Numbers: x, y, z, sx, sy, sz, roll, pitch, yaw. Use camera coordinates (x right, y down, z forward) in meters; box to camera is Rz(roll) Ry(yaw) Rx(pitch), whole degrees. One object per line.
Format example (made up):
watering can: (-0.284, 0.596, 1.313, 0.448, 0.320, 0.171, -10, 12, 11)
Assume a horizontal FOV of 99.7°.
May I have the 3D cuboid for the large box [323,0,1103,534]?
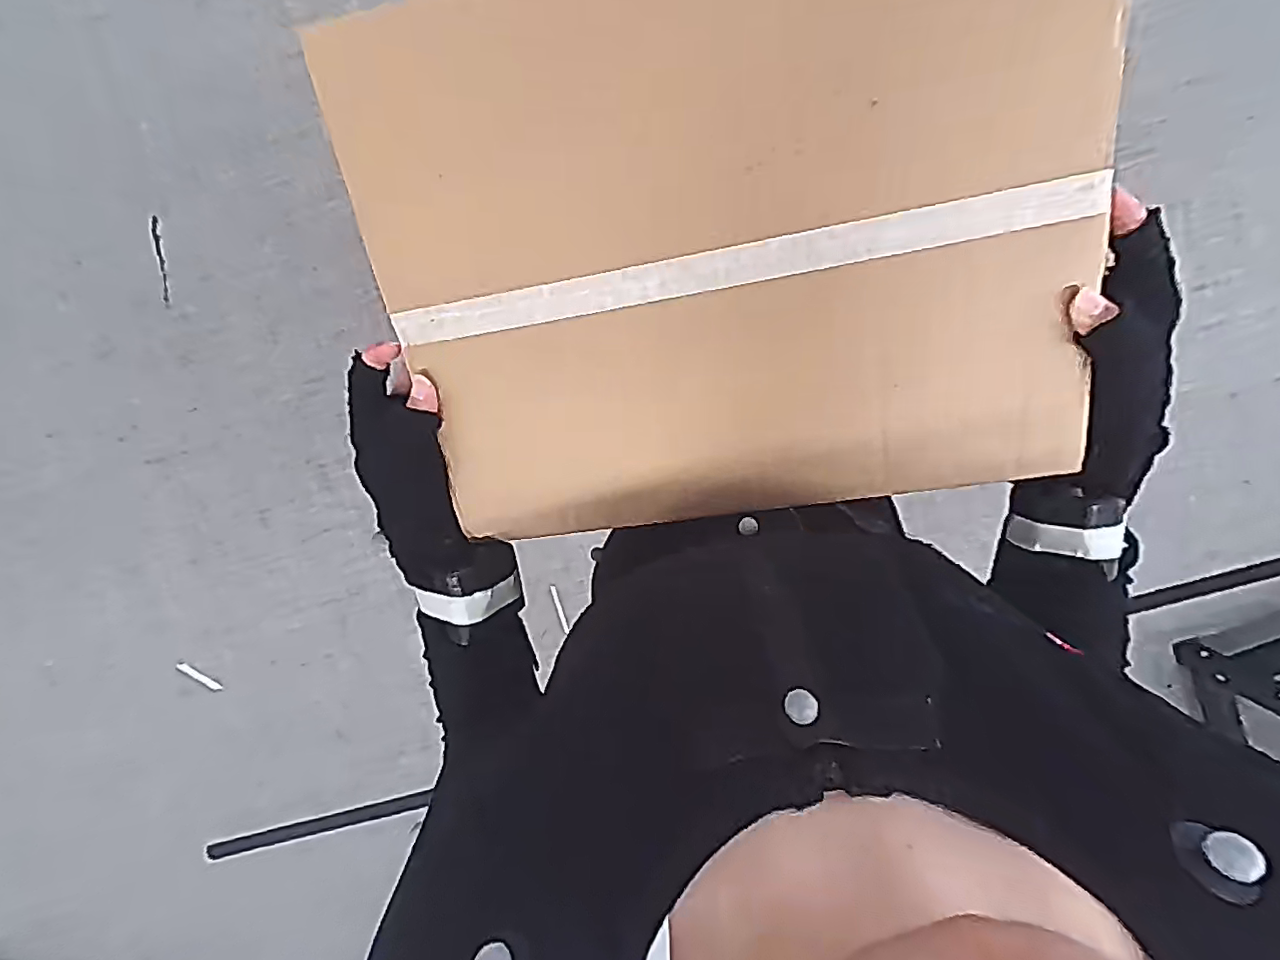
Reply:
large box: (0.059, -0.183, 0.457, 0.408, 0.320, 0.320, -8, 110, 9)
